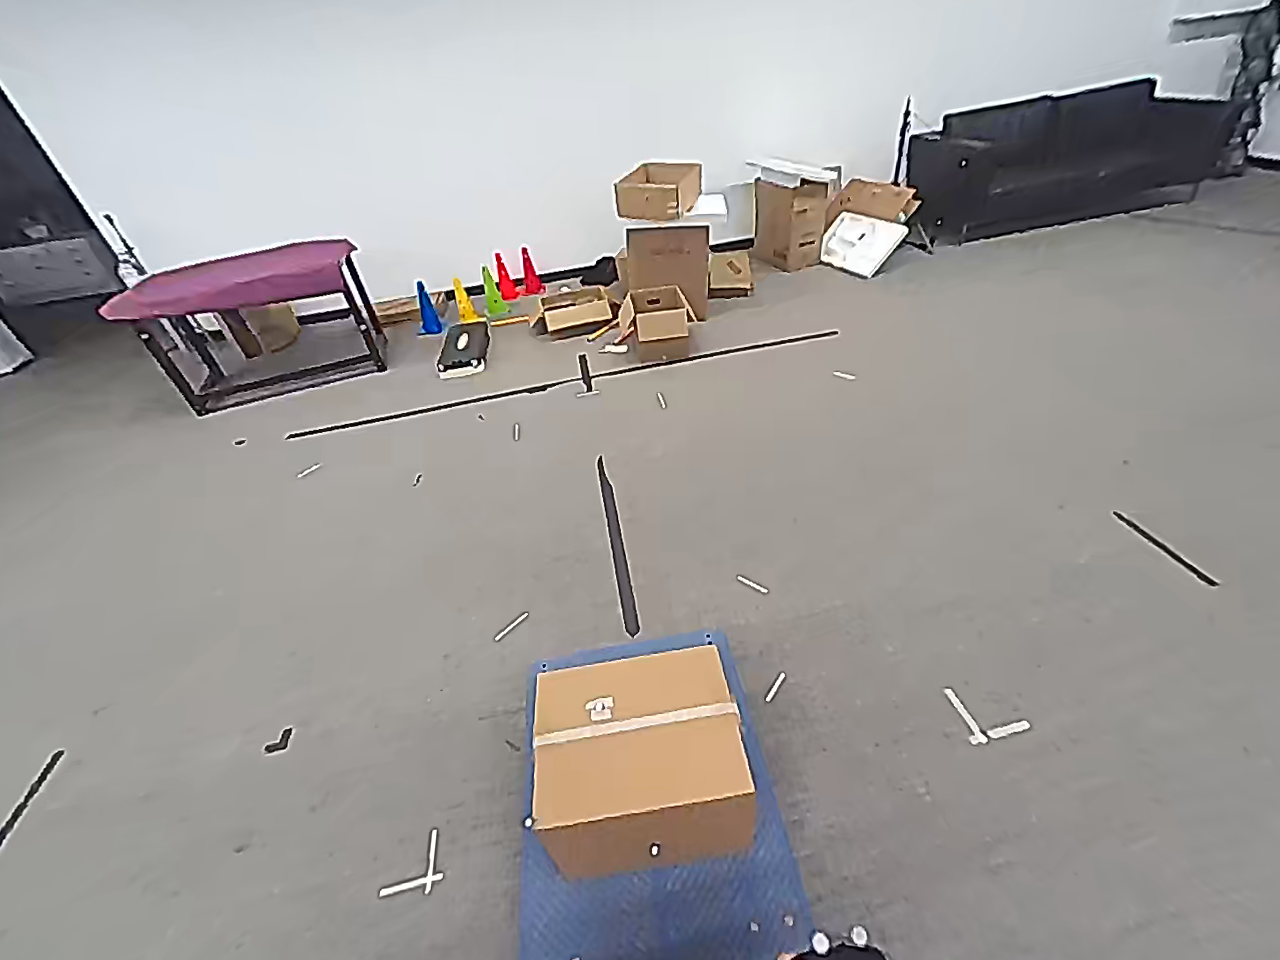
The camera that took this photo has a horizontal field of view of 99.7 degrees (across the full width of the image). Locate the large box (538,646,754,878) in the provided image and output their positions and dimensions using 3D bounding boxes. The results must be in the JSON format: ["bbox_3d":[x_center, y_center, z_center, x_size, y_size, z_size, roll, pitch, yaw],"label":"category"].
[{"bbox_3d":[0.011,0.618,1.189,0.408,0.320,0.320,-10,38,-1],"label":"large box"}]
